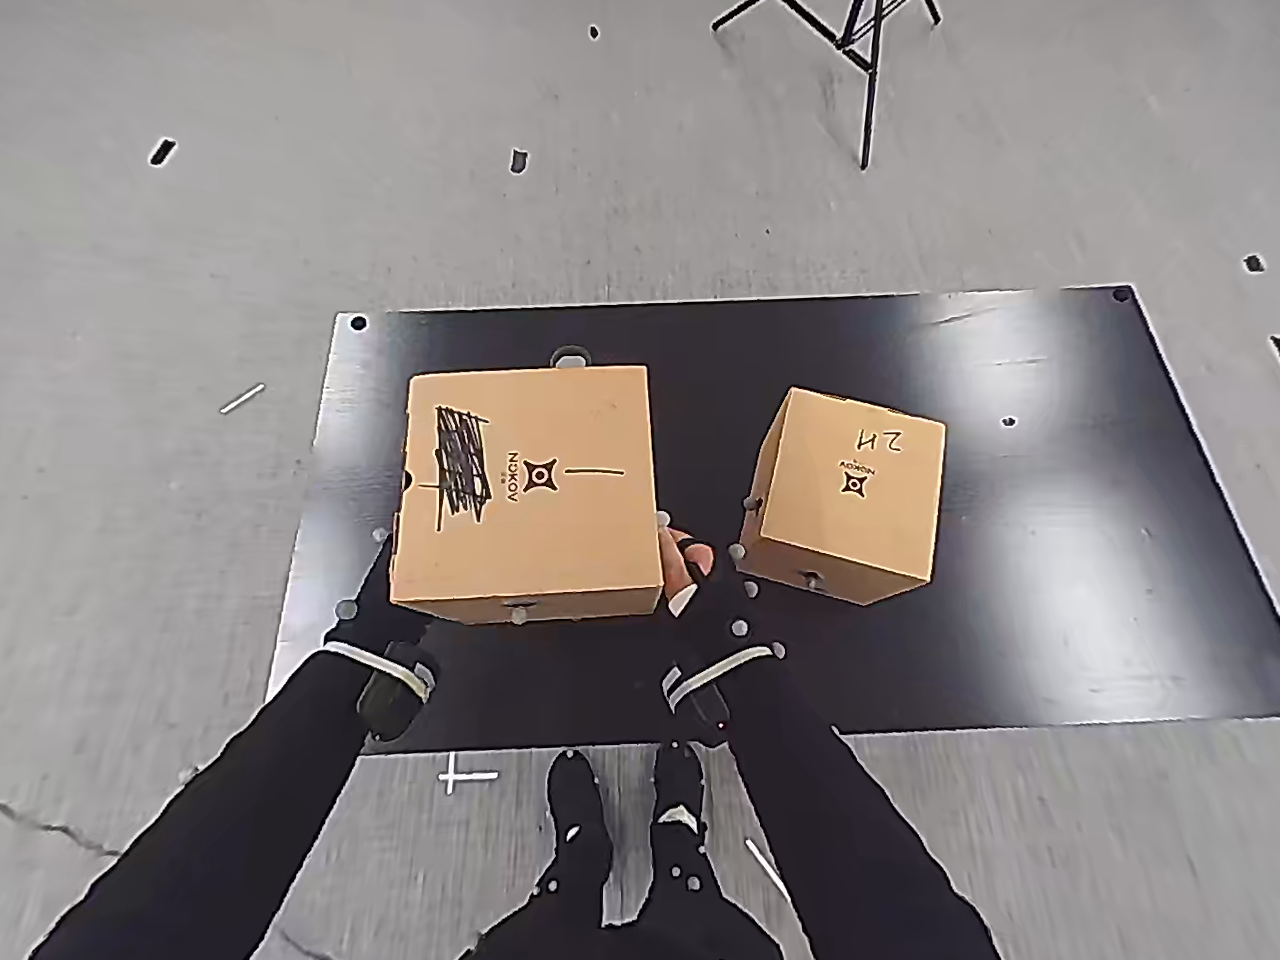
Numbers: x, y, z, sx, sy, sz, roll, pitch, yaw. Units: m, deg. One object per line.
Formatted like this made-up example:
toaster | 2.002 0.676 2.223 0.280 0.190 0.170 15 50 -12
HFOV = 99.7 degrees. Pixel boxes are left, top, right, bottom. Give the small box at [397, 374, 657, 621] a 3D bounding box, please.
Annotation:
small box | -0.078 0.026 0.459 0.179 0.176 0.168 -3 71 -2

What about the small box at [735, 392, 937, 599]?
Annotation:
small box | 0.216 0.029 0.633 0.168 0.176 0.179 16 70 5
